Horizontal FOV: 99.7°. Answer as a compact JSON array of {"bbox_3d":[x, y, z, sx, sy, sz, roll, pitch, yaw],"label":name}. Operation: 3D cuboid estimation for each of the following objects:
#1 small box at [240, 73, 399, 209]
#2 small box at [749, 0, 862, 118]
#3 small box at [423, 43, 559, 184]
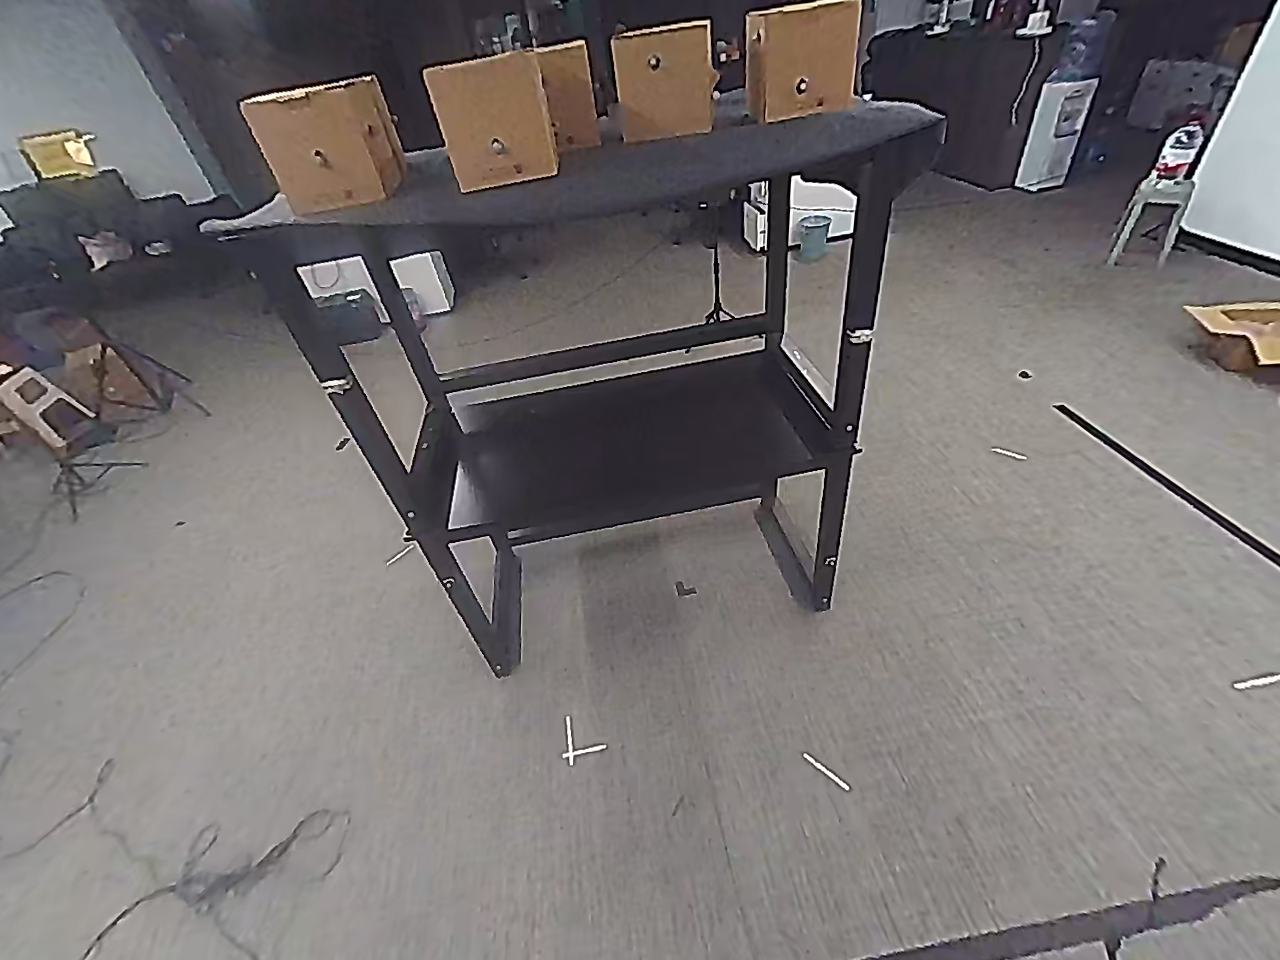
[{"bbox_3d":[-0.548,-0.596,0.958,0.168,0.176,0.179,-12,42,-4],"label":"small box"},{"bbox_3d":[0.303,-0.805,1.030,0.168,0.176,0.179,-8,41,3],"label":"small box"},{"bbox_3d":[-0.238,-0.614,0.912,0.168,0.176,0.179,-10,39,2],"label":"small box"}]
